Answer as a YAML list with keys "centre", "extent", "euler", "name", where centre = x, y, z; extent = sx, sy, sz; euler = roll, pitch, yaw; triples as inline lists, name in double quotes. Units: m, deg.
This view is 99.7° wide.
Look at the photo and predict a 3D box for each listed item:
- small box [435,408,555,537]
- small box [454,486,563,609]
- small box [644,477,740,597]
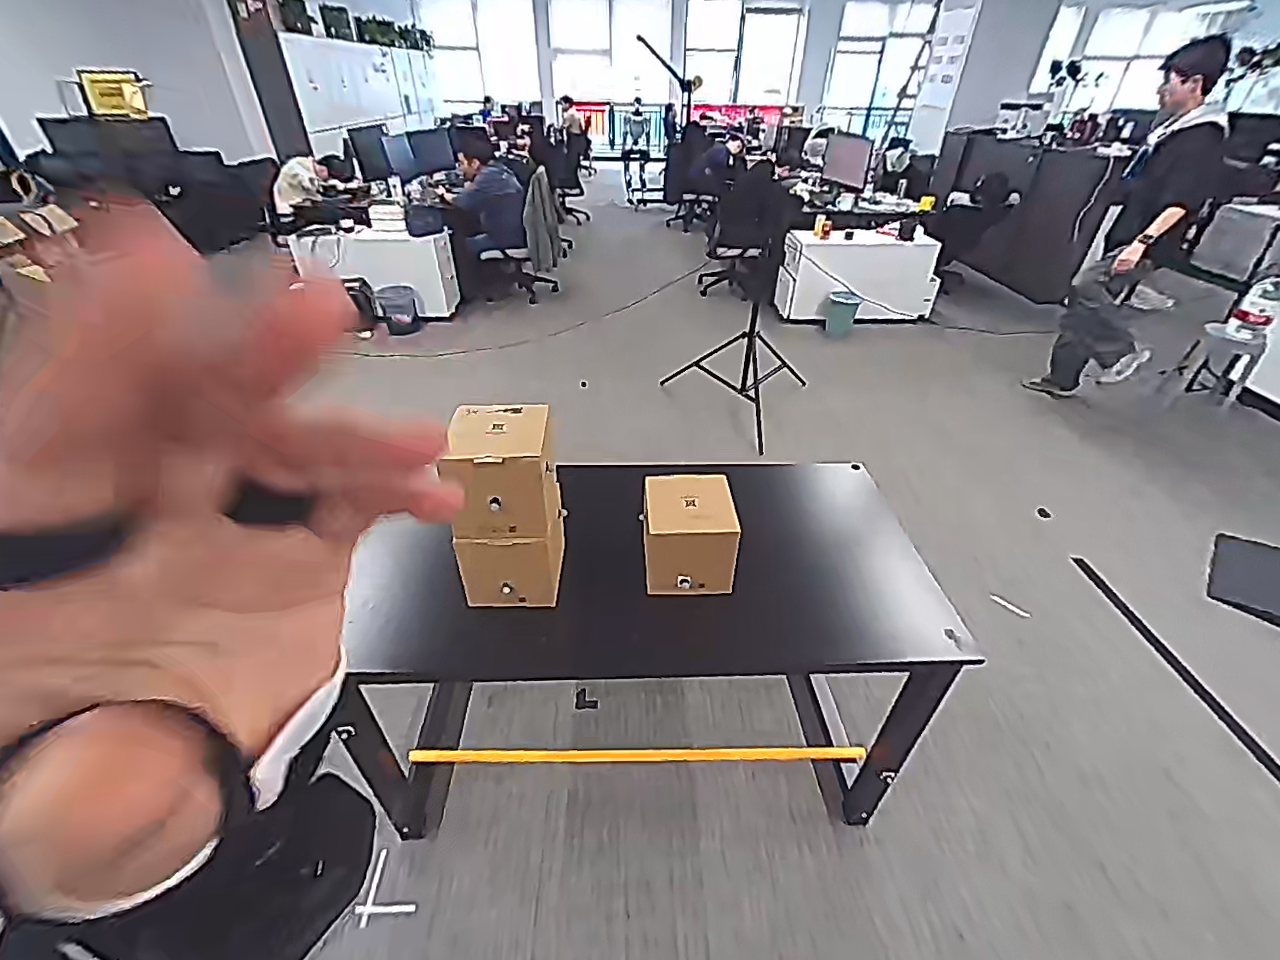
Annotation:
- centre: [-0.242, -0.011, 0.955]
  extent: [0.168, 0.176, 0.179]
  euler: [-1, 37, -3]
  name: "small box"
- centre: [-0.242, 0.126, 1.044]
  extent: [0.168, 0.176, 0.179]
  euler: [0, 36, -1]
  name: "small box"
- centre: [0.093, 0.112, 1.076]
  extent: [0.168, 0.176, 0.179]
  euler: [-2, 37, -2]
  name: "small box"
